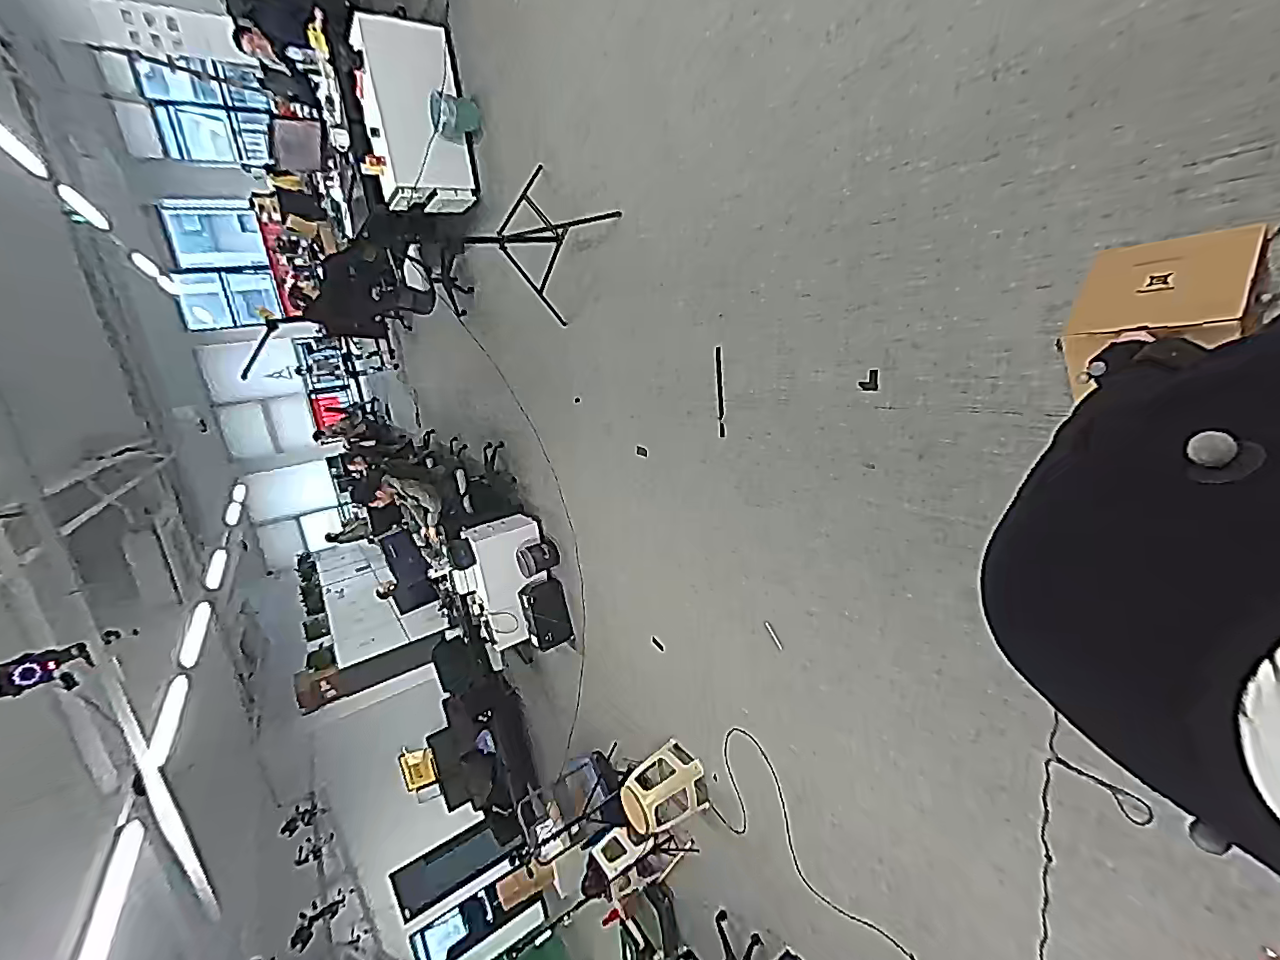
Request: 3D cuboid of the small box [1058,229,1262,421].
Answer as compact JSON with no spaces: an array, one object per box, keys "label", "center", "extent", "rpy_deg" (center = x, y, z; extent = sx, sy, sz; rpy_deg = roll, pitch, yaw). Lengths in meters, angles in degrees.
[{"label":"small box","center":[0.701,-0.195,0.730],"extent":[0.168,0.179,0.176],"rpy_deg":[11,149,51]}]
